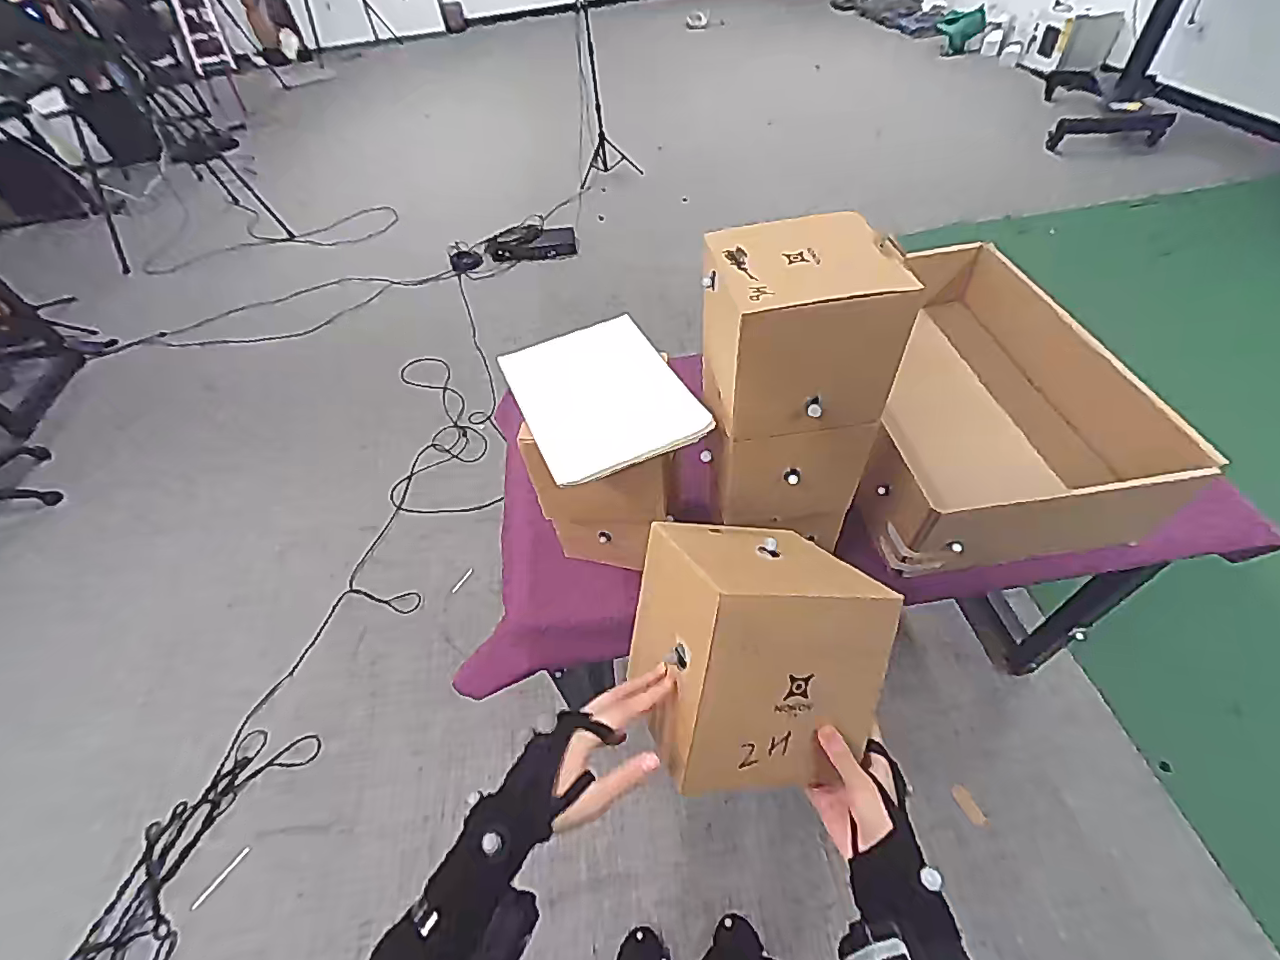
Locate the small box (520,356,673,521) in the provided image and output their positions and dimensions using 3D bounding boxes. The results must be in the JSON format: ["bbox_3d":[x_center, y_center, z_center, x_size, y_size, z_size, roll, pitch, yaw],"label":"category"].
[{"bbox_3d":[-0.046,-0.055,0.755,0.179,0.176,0.168,0,50,8],"label":"small box"}]

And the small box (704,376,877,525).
[{"bbox_3d":[0.186,-0.059,0.730,0.179,0.176,0.168,-8,48,0],"label":"small box"}]

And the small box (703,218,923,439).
[{"bbox_3d":[0.172,-0.166,0.605,0.179,0.176,0.168,-8,48,-2],"label":"small box"}]

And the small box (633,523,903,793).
[{"bbox_3d":[0.100,0.148,0.501,0.168,0.179,0.176,6,12,-17],"label":"small box"}]
